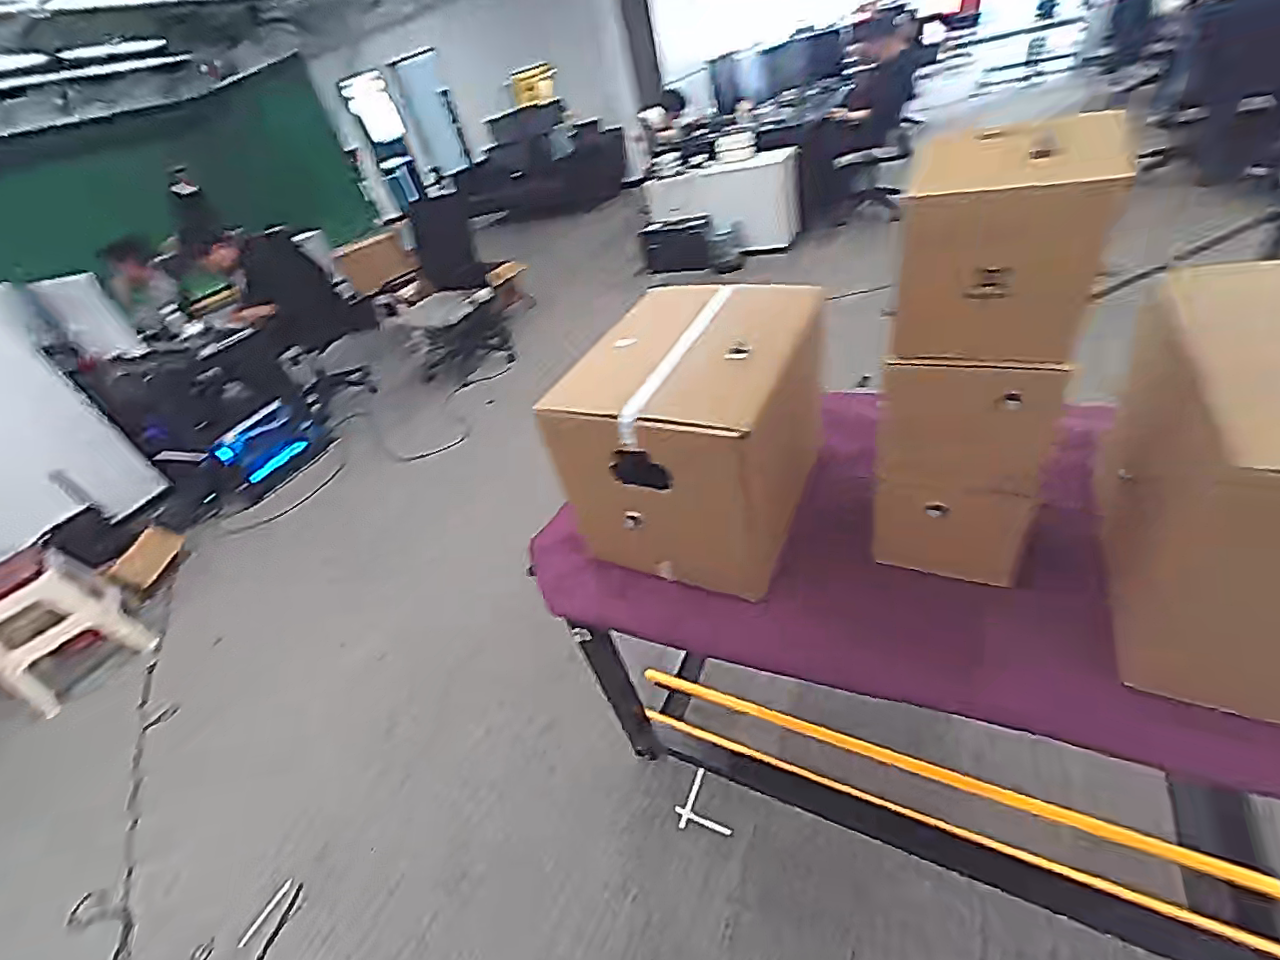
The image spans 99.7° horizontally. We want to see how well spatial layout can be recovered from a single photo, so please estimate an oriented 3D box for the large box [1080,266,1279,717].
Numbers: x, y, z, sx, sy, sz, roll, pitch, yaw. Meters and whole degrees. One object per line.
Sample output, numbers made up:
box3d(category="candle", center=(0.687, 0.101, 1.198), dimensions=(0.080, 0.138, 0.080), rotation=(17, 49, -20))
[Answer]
box3d(category="large box", center=(0.707, 0.002, 0.566), dimensions=(0.320, 0.320, 0.408), rotation=(7, 42, 28))
